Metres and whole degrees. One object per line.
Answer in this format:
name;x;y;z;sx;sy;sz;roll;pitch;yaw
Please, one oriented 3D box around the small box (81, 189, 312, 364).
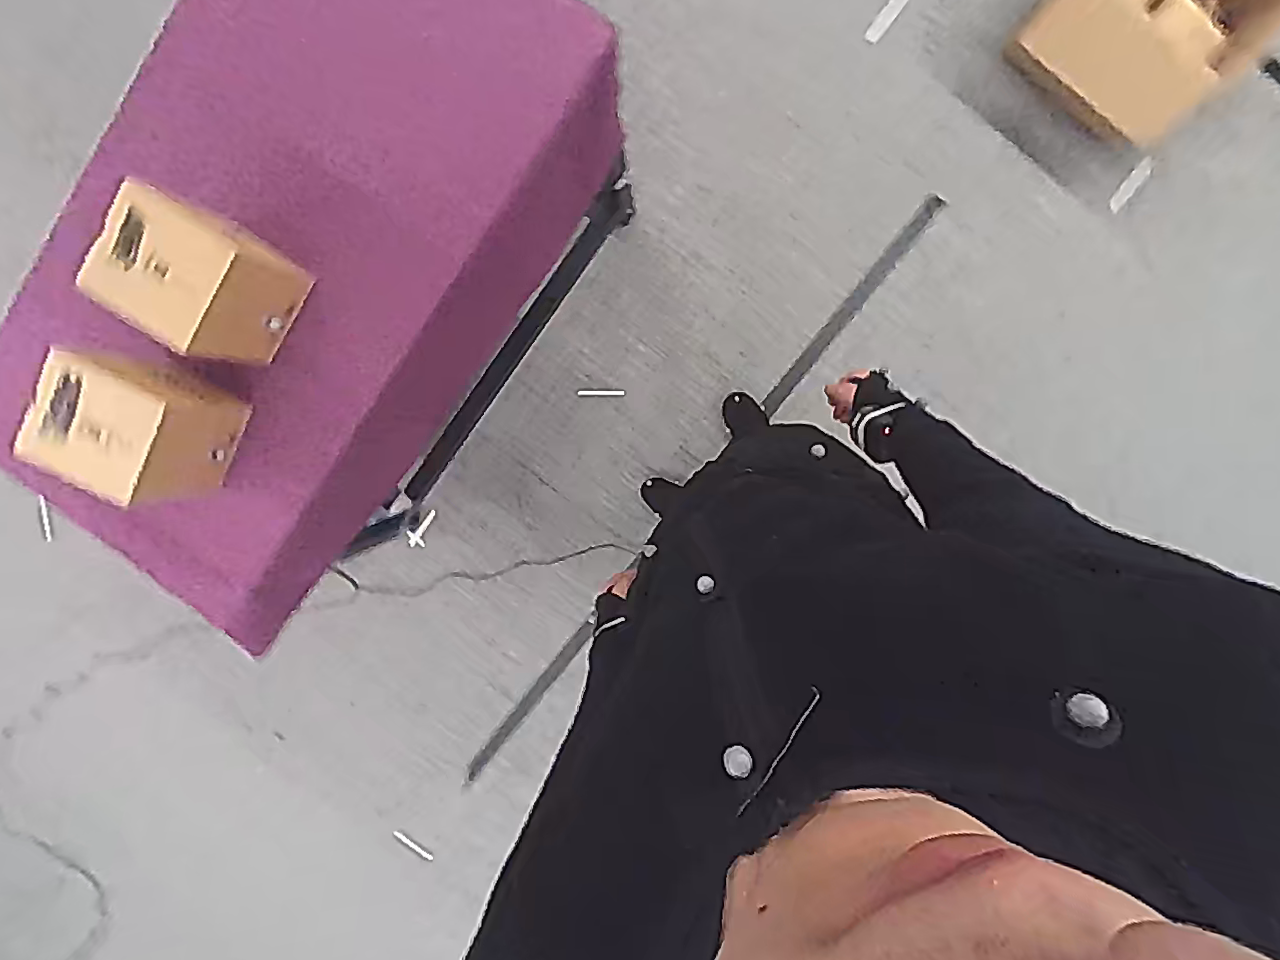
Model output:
small box;-0.655;-0.289;0.819;0.179;0.176;0.168;33;97;-2
